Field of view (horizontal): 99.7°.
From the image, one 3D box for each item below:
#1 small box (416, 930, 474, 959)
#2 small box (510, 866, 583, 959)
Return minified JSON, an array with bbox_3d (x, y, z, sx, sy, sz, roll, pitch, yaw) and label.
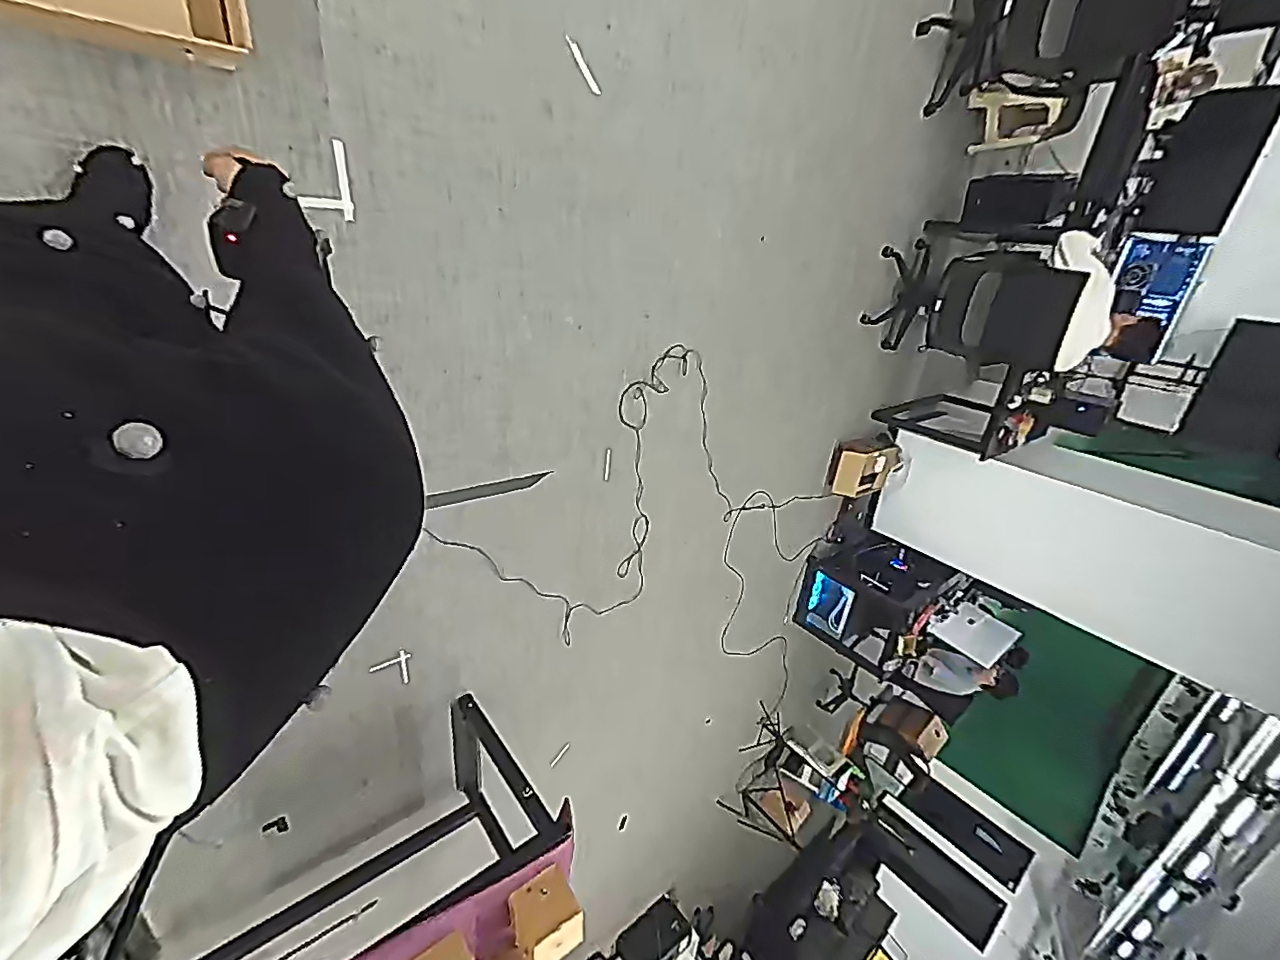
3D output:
[{"bbox_3d":[-0.533,1.387,1.456,0.179,0.176,0.168,-14,121,-39],"label":"small box"},{"bbox_3d":[-0.289,1.346,1.663,0.168,0.176,0.179,-17,122,-35],"label":"small box"}]
